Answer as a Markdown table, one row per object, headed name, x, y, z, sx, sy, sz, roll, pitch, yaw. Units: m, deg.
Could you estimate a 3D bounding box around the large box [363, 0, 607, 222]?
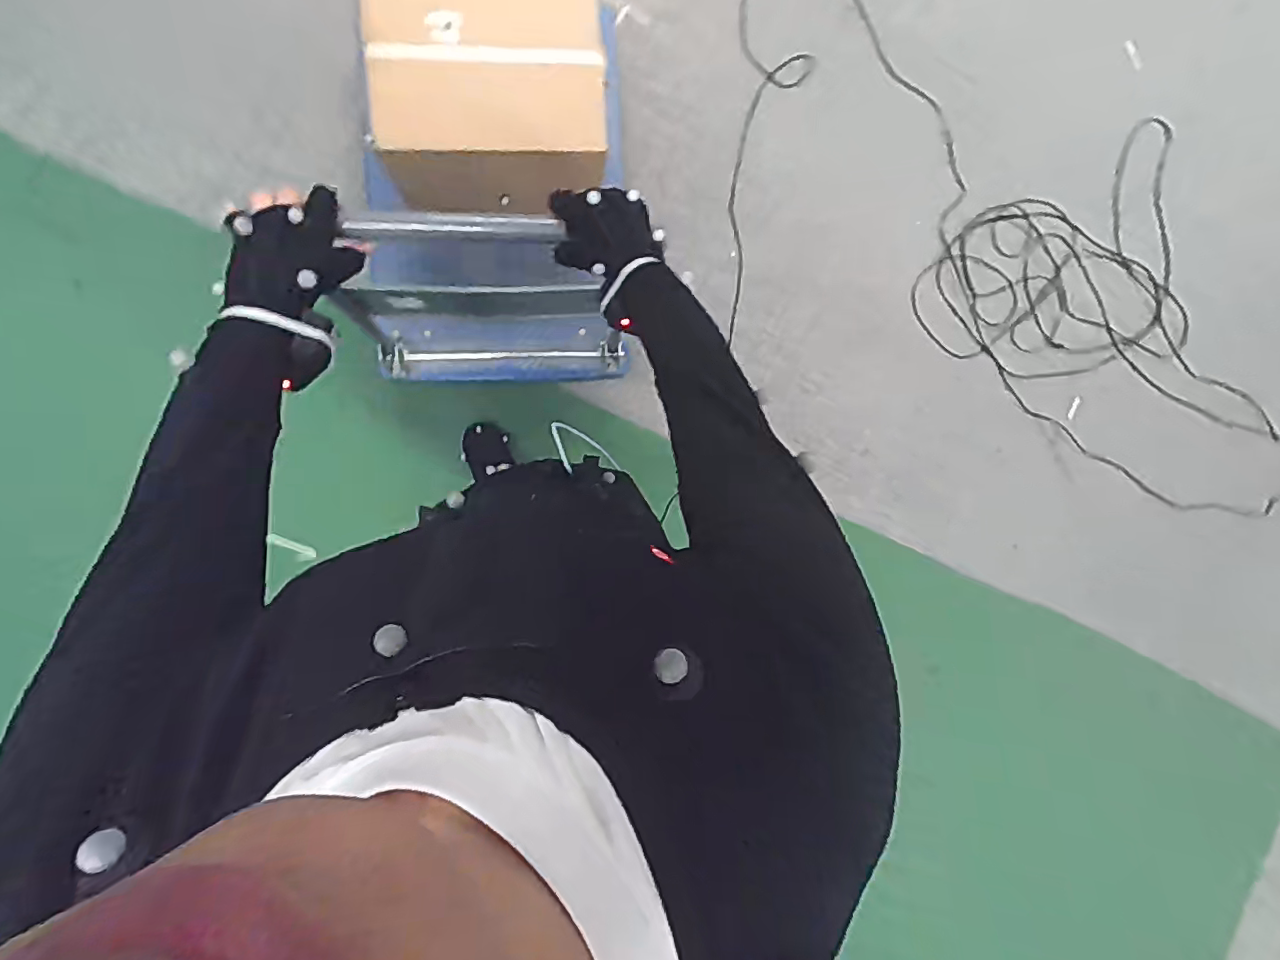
| name | x | y | z | sx | sy | sz | roll | pitch | yaw |
| --- | --- | --- | --- | --- | --- | --- | --- | --- | --- |
| large box | -0.286 | -0.741 | 1.096 | 0.408 | 0.320 | 0.320 | -4 | 93 | -8 |
